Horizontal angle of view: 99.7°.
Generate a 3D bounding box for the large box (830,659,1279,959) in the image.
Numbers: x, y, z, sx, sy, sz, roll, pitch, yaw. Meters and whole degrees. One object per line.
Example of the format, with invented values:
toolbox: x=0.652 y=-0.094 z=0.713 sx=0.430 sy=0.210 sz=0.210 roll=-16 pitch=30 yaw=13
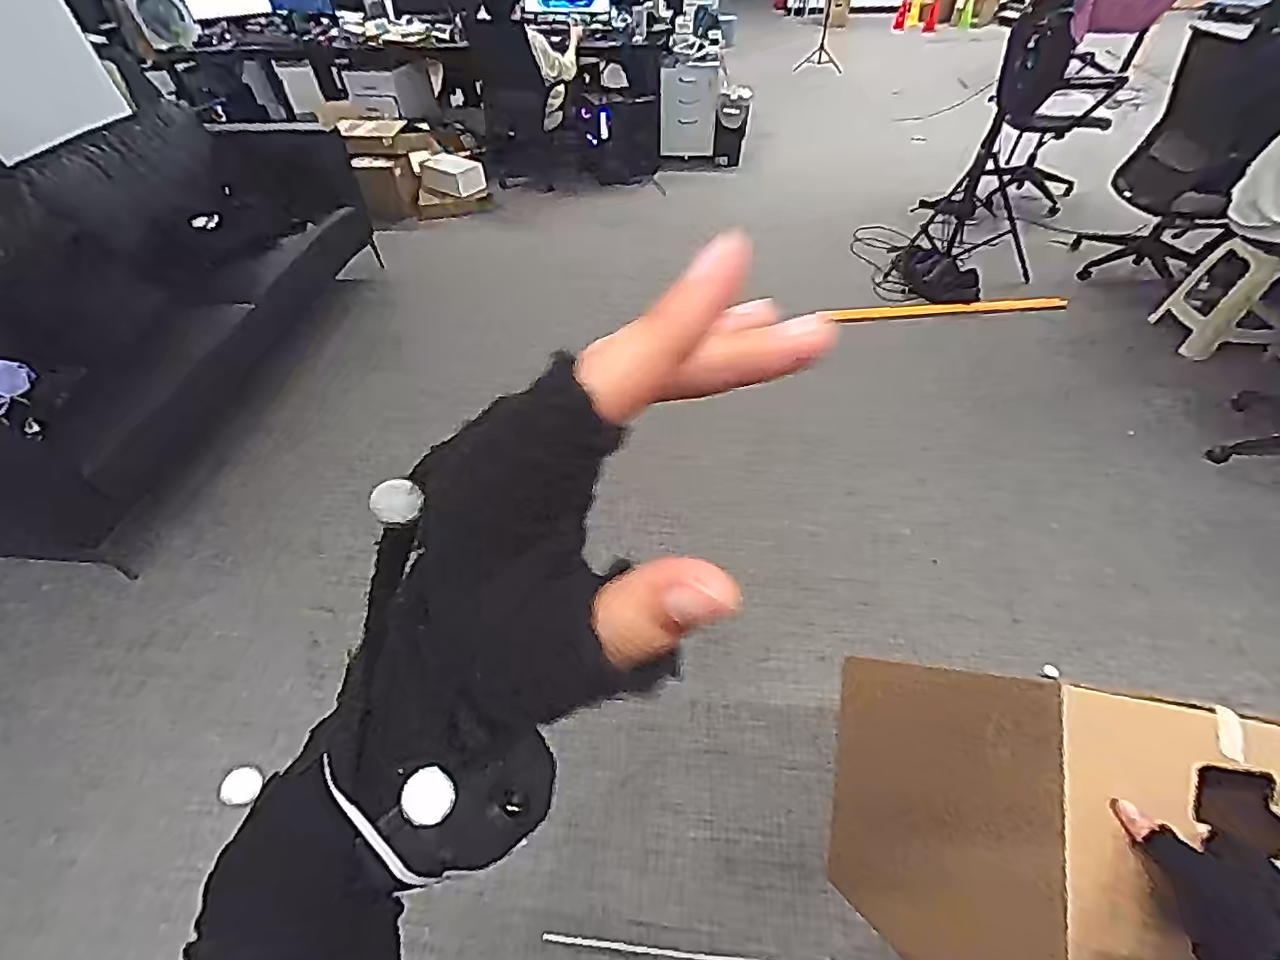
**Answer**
large box: x=0.464 y=0.411 z=0.615 sx=0.320 sy=0.408 sz=0.320 roll=13 pitch=76 yaw=-2
